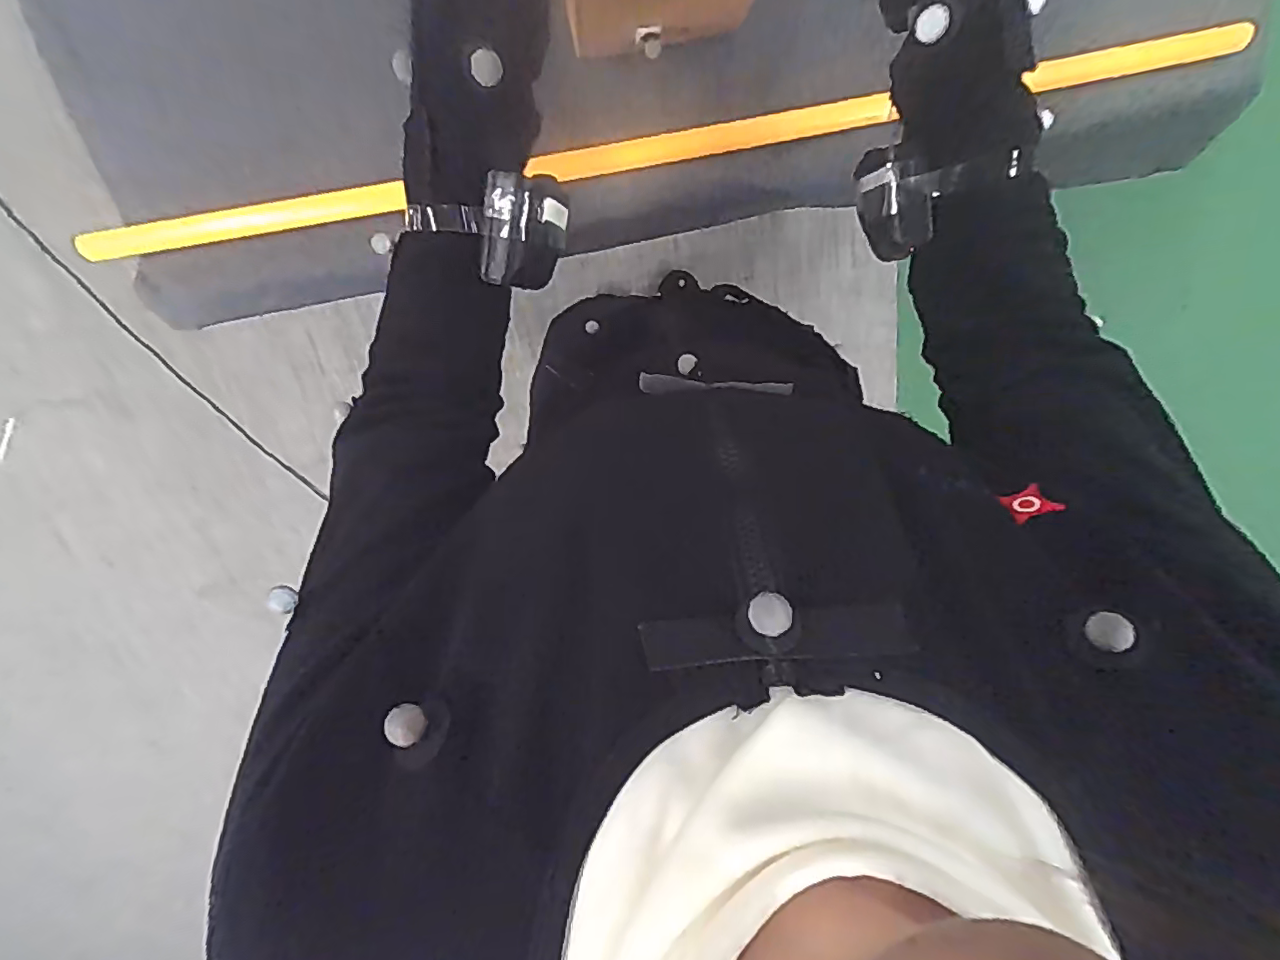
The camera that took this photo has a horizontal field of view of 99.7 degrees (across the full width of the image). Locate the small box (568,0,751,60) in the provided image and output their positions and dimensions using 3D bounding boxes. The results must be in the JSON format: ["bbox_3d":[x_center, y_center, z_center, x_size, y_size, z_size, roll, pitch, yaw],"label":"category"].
[{"bbox_3d":[0.008,-0.486,0.436,0.168,0.176,0.179,-11,112,2],"label":"small box"}]
